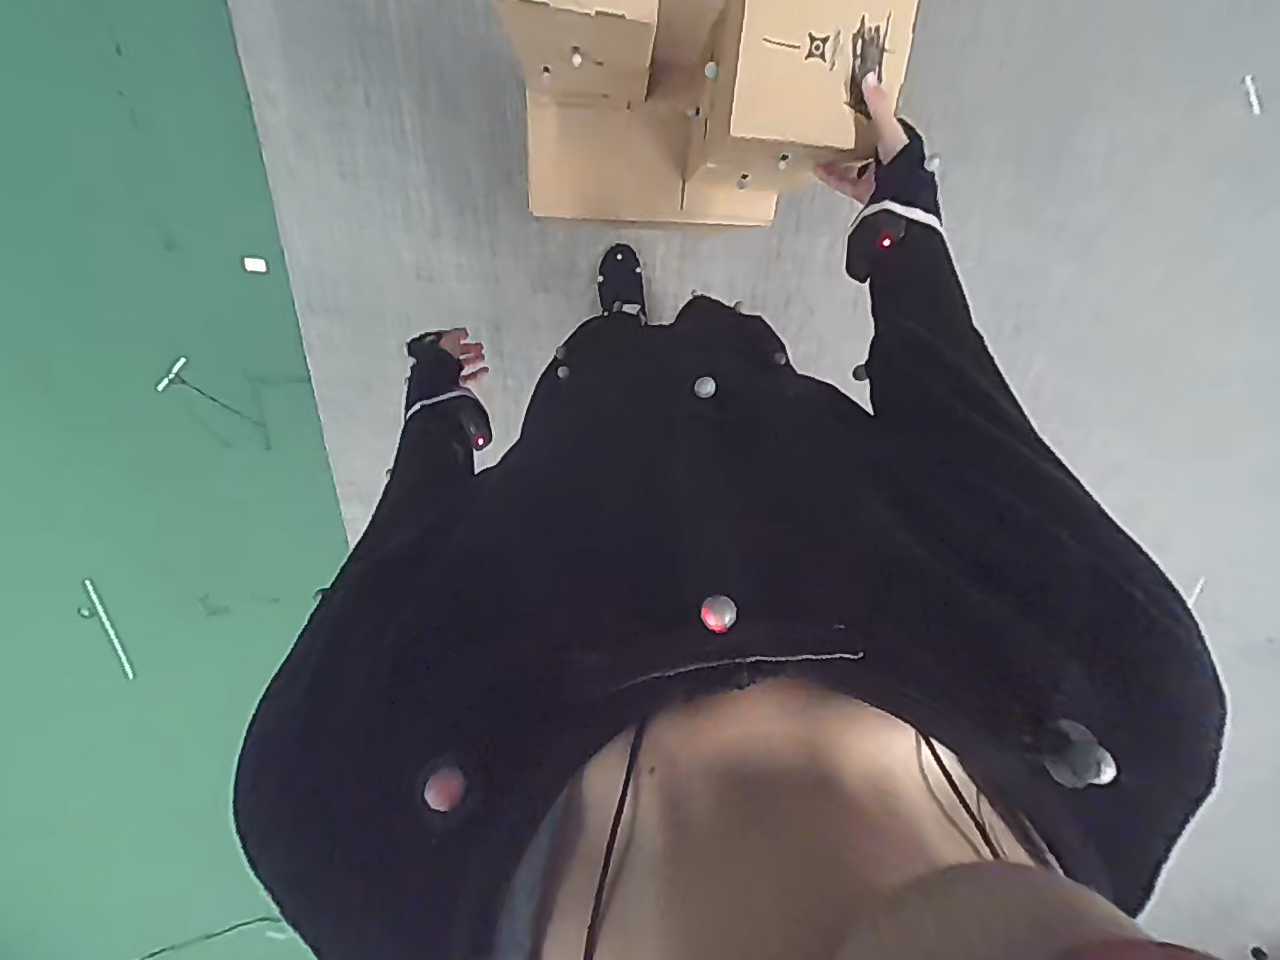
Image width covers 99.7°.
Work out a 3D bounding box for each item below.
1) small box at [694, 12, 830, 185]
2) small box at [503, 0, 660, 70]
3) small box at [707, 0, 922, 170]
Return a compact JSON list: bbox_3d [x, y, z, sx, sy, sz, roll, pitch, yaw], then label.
[{"bbox_3d":[0.174,-0.521,0.764,0.179,0.176,0.168,4,114,-2],"label":"small box"},{"bbox_3d":[-0.057,-0.565,0.560,0.168,0.176,0.179,5,113,-4],"label":"small box"},{"bbox_3d":[0.182,-0.462,0.613,0.179,0.176,0.168,4,112,-3],"label":"small box"}]
